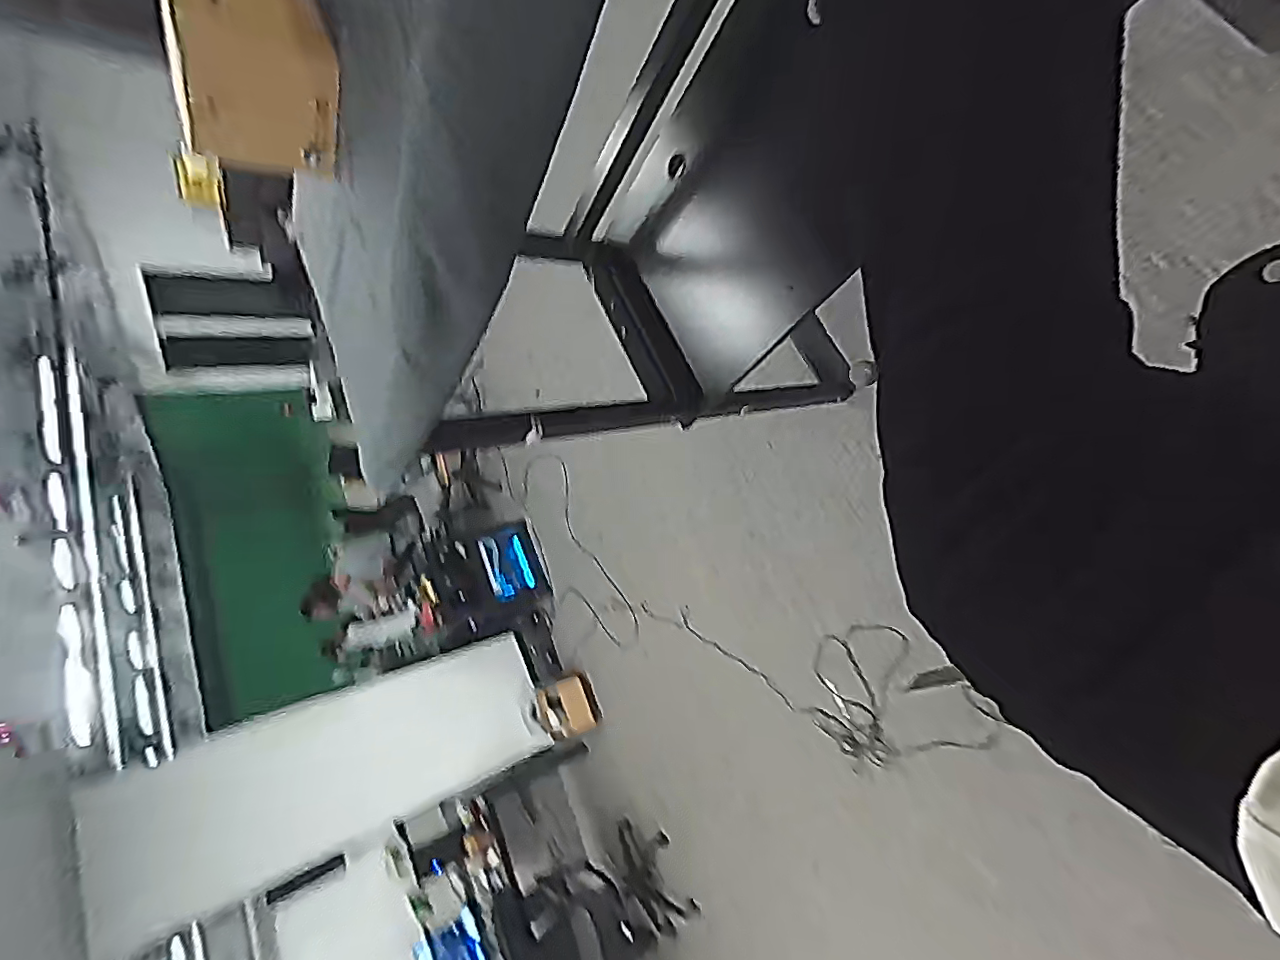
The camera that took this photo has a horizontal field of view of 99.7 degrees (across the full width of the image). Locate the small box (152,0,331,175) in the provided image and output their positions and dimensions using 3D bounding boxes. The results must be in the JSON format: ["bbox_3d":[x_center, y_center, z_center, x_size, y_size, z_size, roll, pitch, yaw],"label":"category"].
[{"bbox_3d":[-0.529,-0.542,0.728,0.168,0.176,0.179,-50,61,46],"label":"small box"}]
